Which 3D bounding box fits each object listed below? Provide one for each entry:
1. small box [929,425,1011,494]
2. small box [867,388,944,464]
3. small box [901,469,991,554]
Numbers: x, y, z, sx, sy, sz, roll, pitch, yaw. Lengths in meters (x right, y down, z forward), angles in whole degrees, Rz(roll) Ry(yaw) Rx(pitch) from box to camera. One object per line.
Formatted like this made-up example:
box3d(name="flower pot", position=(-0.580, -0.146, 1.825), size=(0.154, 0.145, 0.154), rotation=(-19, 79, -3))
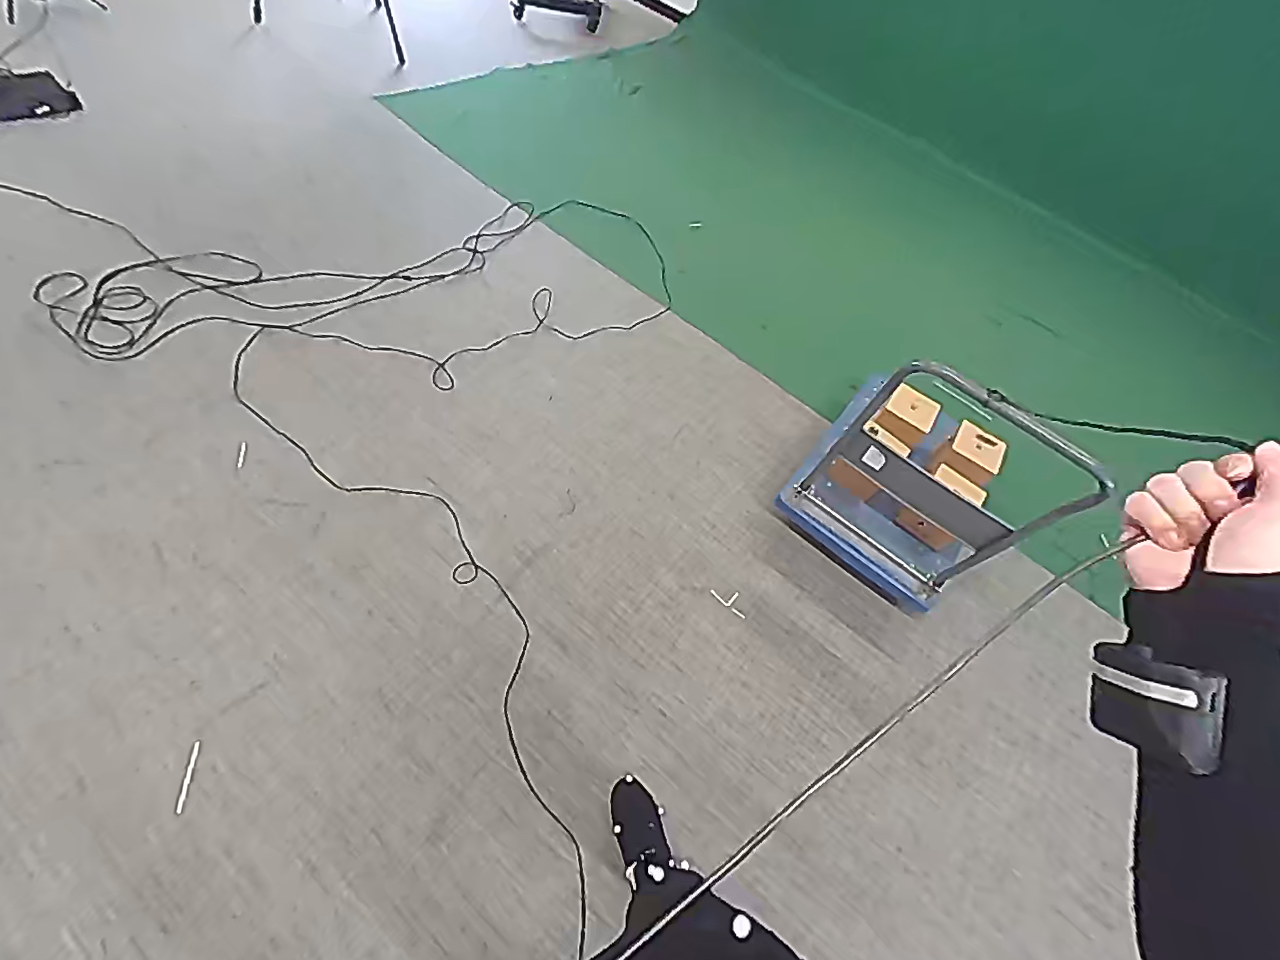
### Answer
box3d(name="small box", position=(1.152, -0.051, 1.898), size=(0.168, 0.176, 0.179), rotation=(35, 57, 12))
box3d(name="small box", position=(0.948, -0.191, 1.947), size=(0.168, 0.176, 0.179), rotation=(35, 56, 11))
box3d(name="small box", position=(0.986, 0.105, 1.754), size=(0.168, 0.176, 0.179), rotation=(39, 57, 14))
